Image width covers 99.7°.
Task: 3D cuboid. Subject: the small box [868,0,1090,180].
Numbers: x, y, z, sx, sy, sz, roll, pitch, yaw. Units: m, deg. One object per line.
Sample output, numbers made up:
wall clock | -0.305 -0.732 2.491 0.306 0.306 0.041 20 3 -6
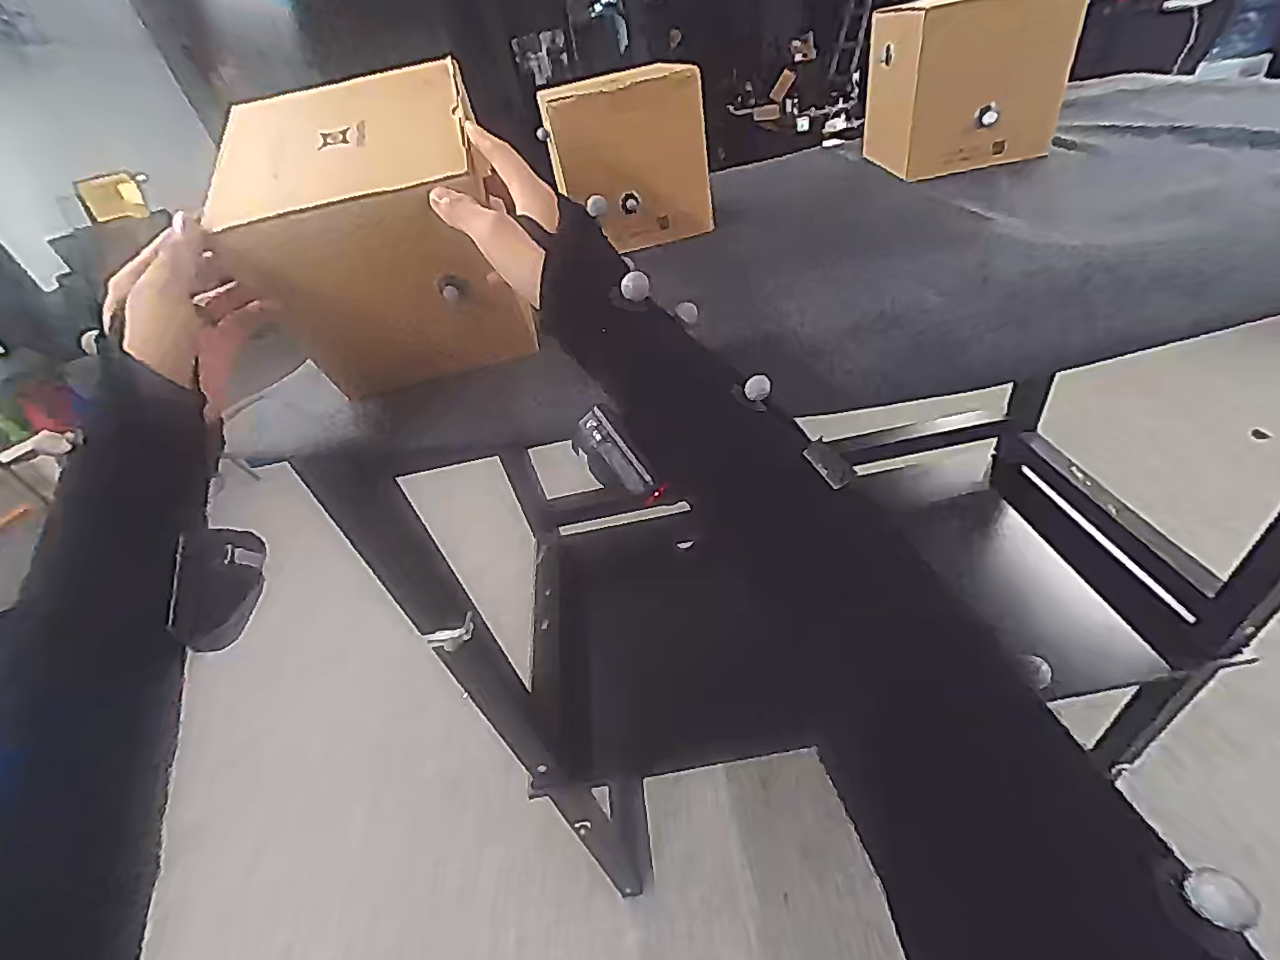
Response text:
small box | 0.395 -0.489 0.670 0.168 0.176 0.179 -8 40 7

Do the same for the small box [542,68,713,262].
small box | -0.016 -0.389 0.670 0.168 0.176 0.179 -16 40 -3

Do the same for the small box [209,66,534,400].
small box | -0.194 -0.192 0.444 0.179 0.176 0.168 -15 59 -3
